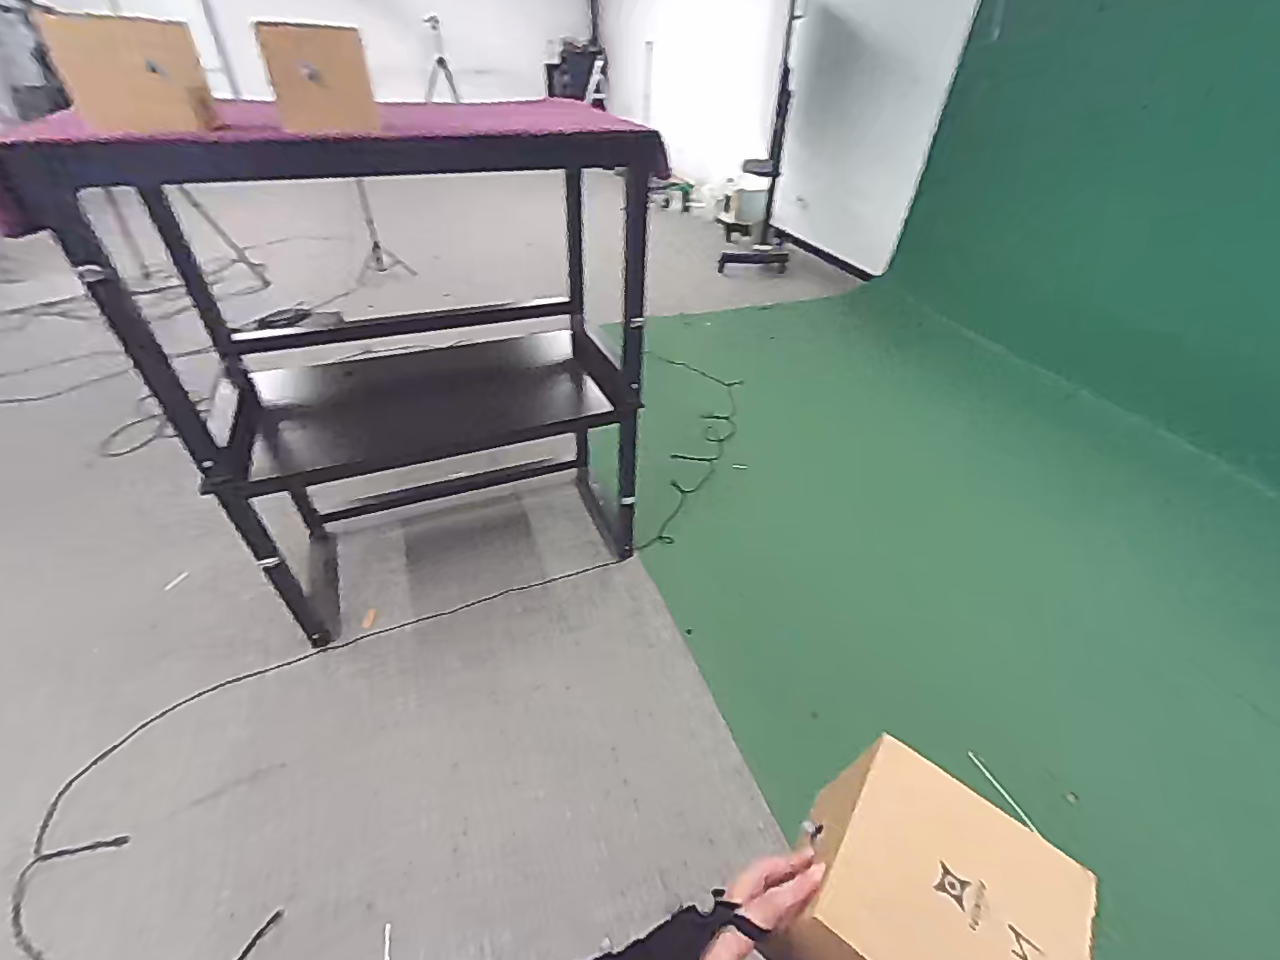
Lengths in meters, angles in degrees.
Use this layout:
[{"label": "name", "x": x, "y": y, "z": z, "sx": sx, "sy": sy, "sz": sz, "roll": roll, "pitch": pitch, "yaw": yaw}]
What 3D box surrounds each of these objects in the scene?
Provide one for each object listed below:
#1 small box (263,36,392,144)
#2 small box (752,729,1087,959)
[{"label": "small box", "x": -0.621, "y": -0.790, "z": 1.099, "sx": 0.179, "sy": 0.176, "sz": 0.168, "roll": -11, "pitch": 40, "yaw": -15}, {"label": "small box", "x": 0.217, "y": 0.357, "z": 0.449, "sx": 0.179, "sy": 0.176, "sz": 0.168, "roll": 31, "pitch": 47, "yaw": 22}]
